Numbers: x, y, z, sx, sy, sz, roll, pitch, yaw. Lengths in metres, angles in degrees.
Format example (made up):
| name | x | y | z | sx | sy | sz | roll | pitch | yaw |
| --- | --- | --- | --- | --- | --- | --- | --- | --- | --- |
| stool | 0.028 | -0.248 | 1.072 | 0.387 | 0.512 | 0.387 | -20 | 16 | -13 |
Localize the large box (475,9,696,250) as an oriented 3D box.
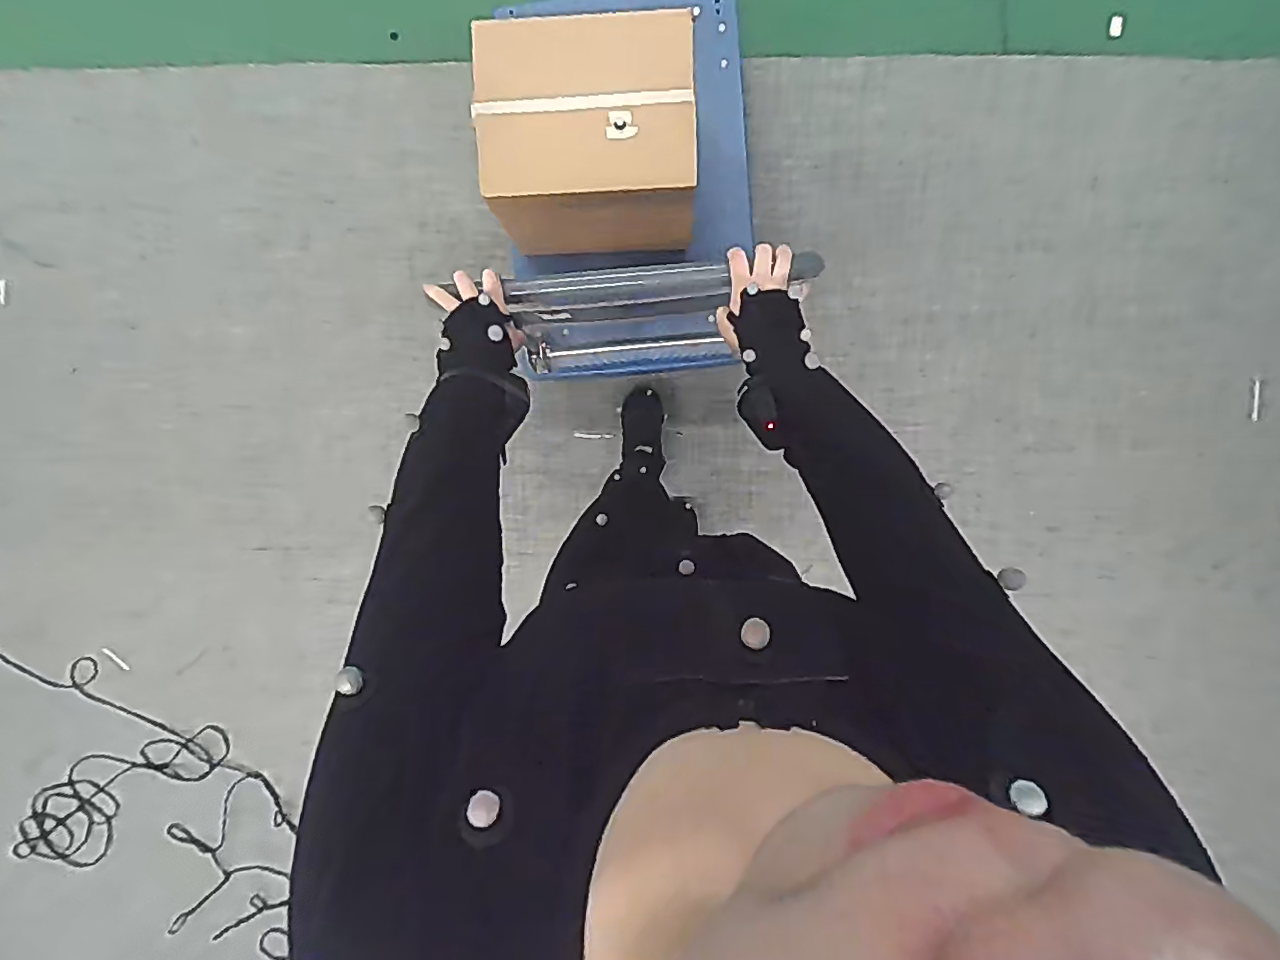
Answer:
| name | x | y | z | sx | sy | sz | roll | pitch | yaw |
| --- | --- | --- | --- | --- | --- | --- | --- | --- | --- |
| large box | -0.099 | -0.707 | 1.148 | 0.408 | 0.320 | 0.320 | -2 | 94 | 1 |
